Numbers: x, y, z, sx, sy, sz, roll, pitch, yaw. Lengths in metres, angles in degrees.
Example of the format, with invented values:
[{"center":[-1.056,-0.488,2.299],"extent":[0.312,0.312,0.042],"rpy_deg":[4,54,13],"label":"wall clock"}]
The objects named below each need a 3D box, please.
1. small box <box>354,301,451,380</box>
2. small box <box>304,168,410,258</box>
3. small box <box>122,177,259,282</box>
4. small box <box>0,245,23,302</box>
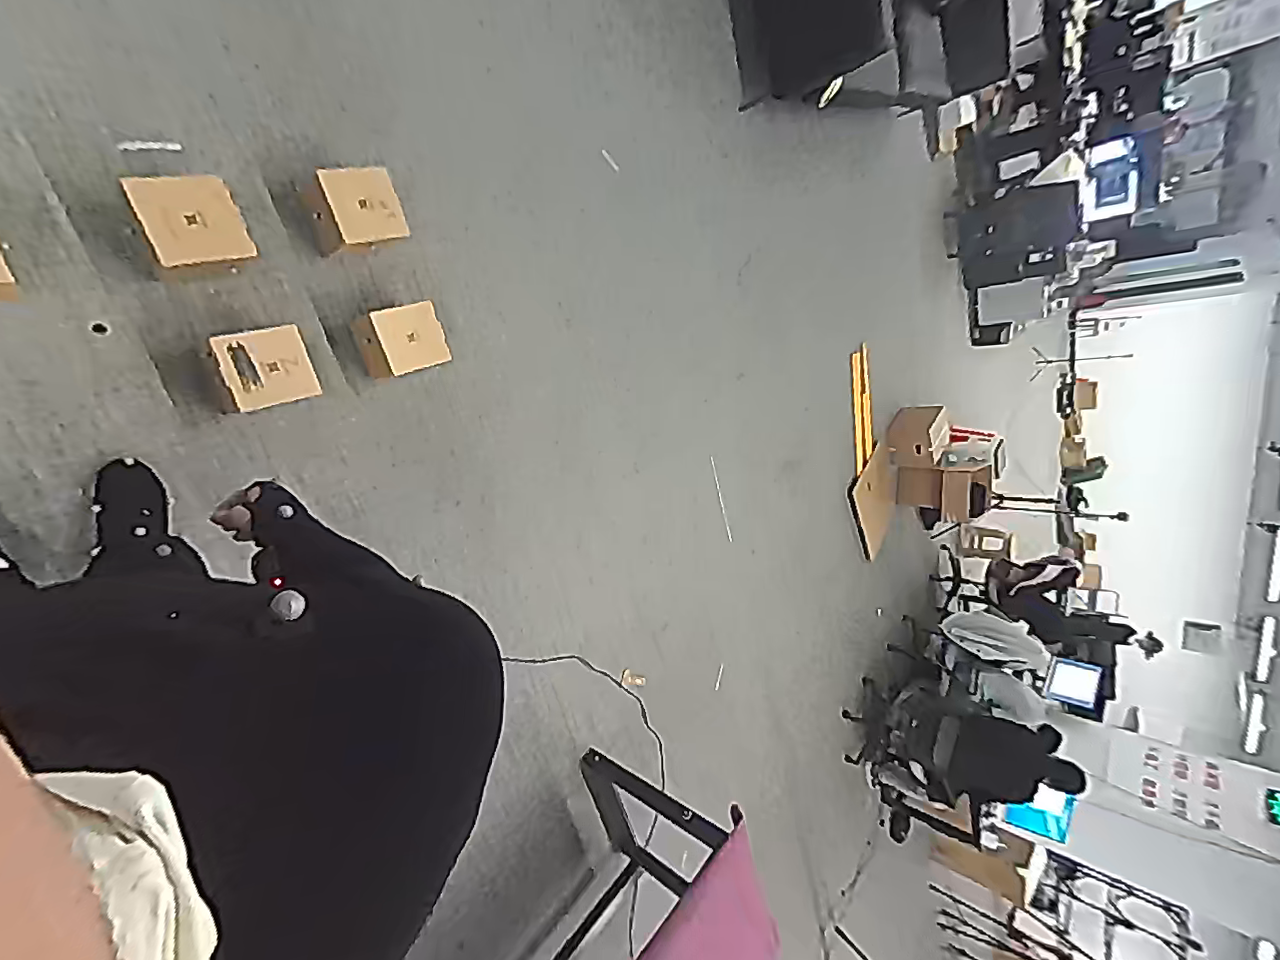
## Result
[{"center":[-0.660,-0.381,1.490],"extent":[0.179,0.176,0.168],"rpy_deg":[-32,115,-40],"label":"small box"},{"center":[-0.733,-0.682,1.391],"extent":[0.179,0.176,0.168],"rpy_deg":[-32,115,-40],"label":"small box"},{"center":[-0.970,-0.537,1.165],"extent":[0.179,0.176,0.168],"rpy_deg":[-30,113,-39],"label":"small box"},{"center":[-1.222,-0.395,0.922],"extent":[0.179,0.176,0.168],"rpy_deg":[-26,111,-40],"label":"small box"}]
